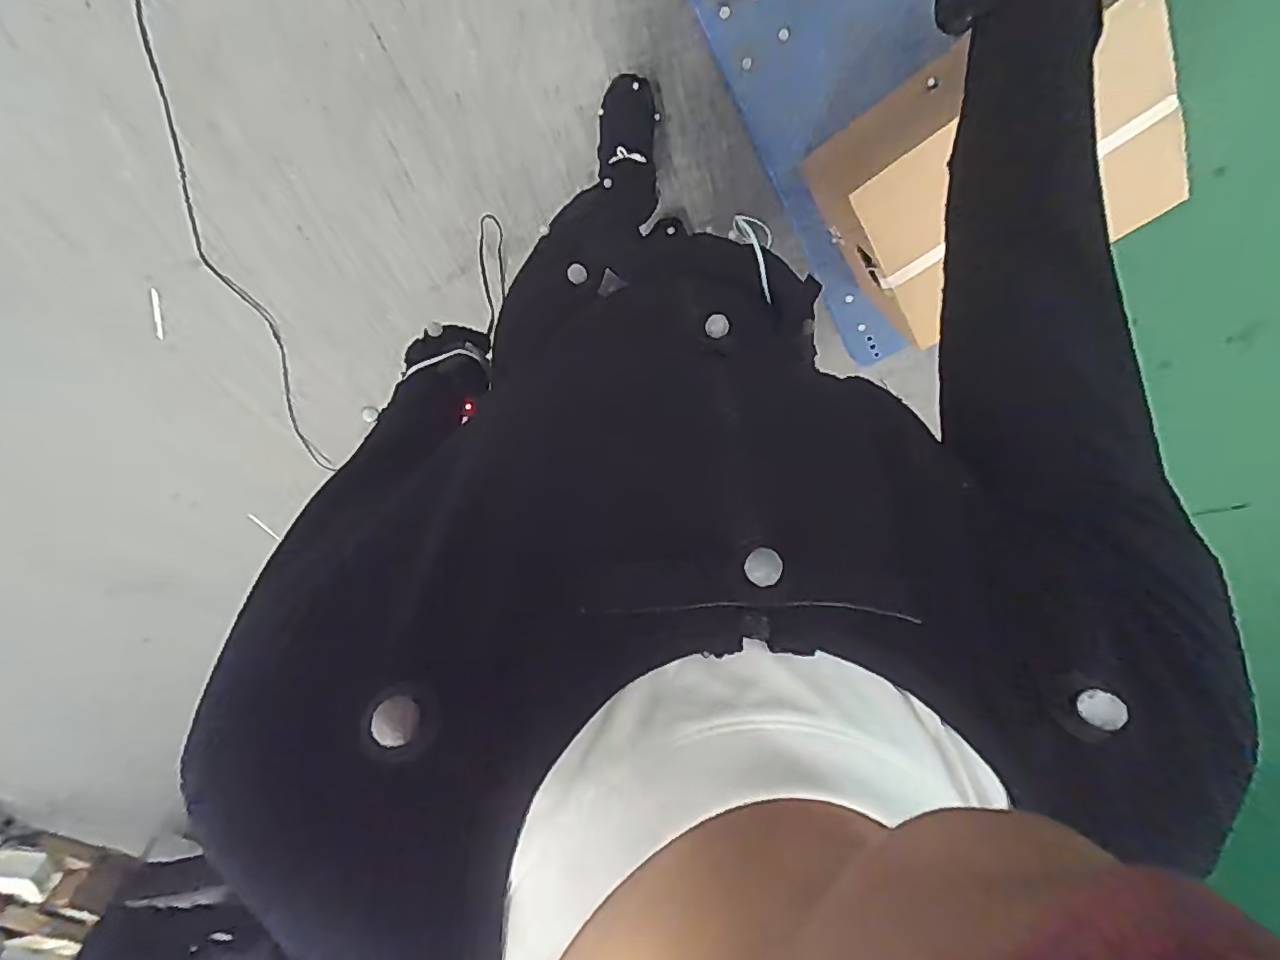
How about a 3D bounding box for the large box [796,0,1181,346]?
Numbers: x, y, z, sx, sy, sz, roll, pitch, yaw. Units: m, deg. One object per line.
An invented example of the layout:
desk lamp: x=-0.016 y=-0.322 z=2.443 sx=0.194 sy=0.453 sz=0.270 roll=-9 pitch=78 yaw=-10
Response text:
large box: x=0.541 y=-0.511 z=0.908 sx=0.408 sy=0.320 sz=0.320 roll=-32 pitch=123 yaw=21
